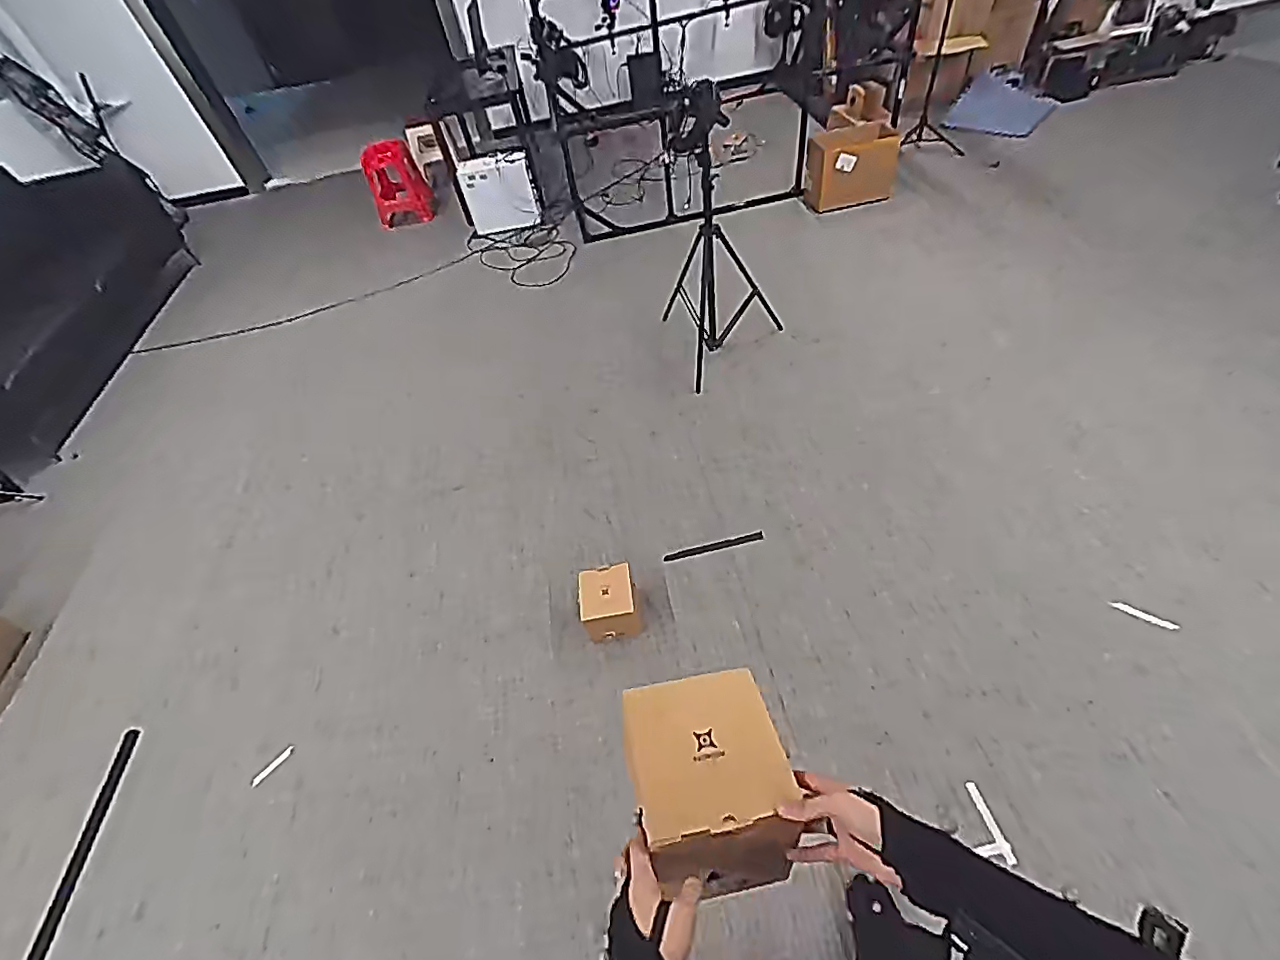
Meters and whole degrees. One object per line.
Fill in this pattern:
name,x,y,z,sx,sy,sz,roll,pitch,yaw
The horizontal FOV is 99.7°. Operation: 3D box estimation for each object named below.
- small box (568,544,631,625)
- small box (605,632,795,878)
small box,-0.126,0.329,1.697,0.168,0.176,0.179,-11,50,2
small box,0.053,0.304,0.613,0.168,0.176,0.179,-7,35,-9
